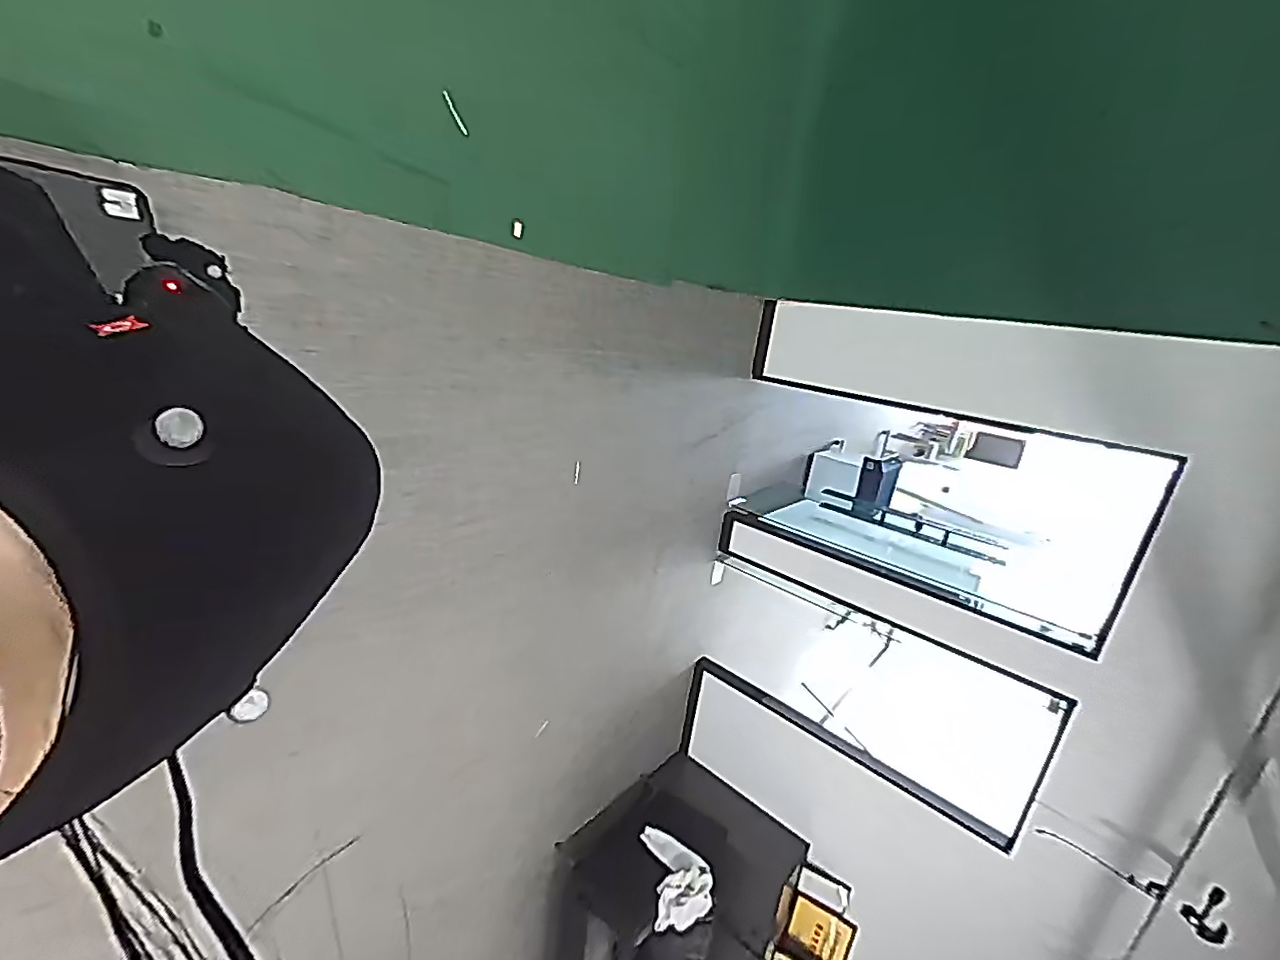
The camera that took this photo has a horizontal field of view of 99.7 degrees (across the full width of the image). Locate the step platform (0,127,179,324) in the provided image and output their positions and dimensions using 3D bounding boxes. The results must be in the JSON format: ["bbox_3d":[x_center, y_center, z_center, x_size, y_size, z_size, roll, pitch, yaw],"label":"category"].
[{"bbox_3d":[-1.115,-0.401,0.766,0.684,0.204,0.286,-11,116,-48],"label":"step platform"}]
